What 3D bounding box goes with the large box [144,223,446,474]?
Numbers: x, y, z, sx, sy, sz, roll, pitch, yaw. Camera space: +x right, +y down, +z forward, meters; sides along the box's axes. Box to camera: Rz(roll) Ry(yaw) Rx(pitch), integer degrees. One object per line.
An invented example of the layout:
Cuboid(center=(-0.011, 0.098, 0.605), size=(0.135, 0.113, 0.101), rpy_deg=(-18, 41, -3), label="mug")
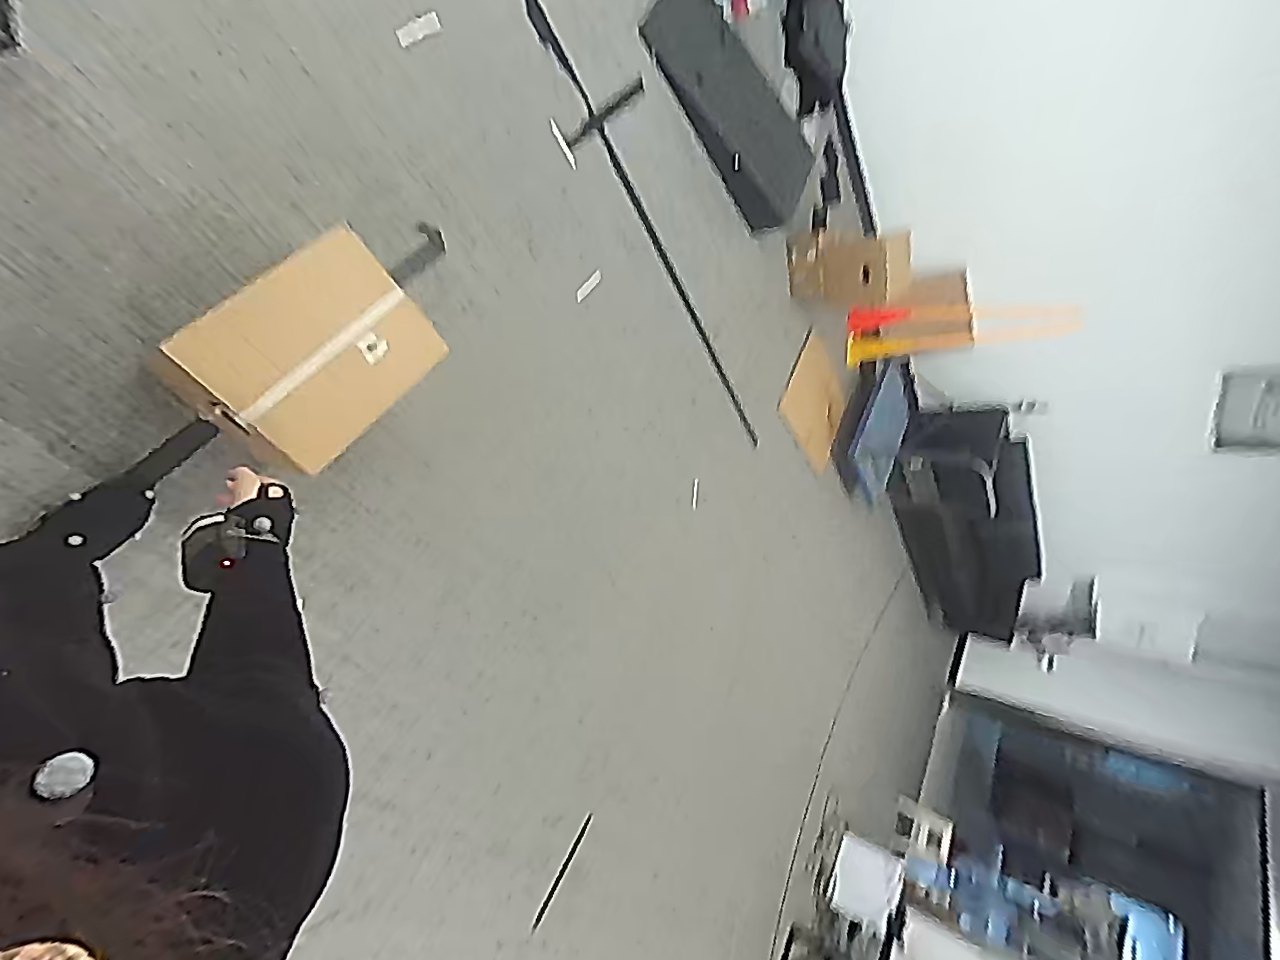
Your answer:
Cuboid(center=(-0.711, -0.260, 1.143), size=(0.408, 0.320, 0.320), rpy_deg=(-57, 131, -29), label="large box")
